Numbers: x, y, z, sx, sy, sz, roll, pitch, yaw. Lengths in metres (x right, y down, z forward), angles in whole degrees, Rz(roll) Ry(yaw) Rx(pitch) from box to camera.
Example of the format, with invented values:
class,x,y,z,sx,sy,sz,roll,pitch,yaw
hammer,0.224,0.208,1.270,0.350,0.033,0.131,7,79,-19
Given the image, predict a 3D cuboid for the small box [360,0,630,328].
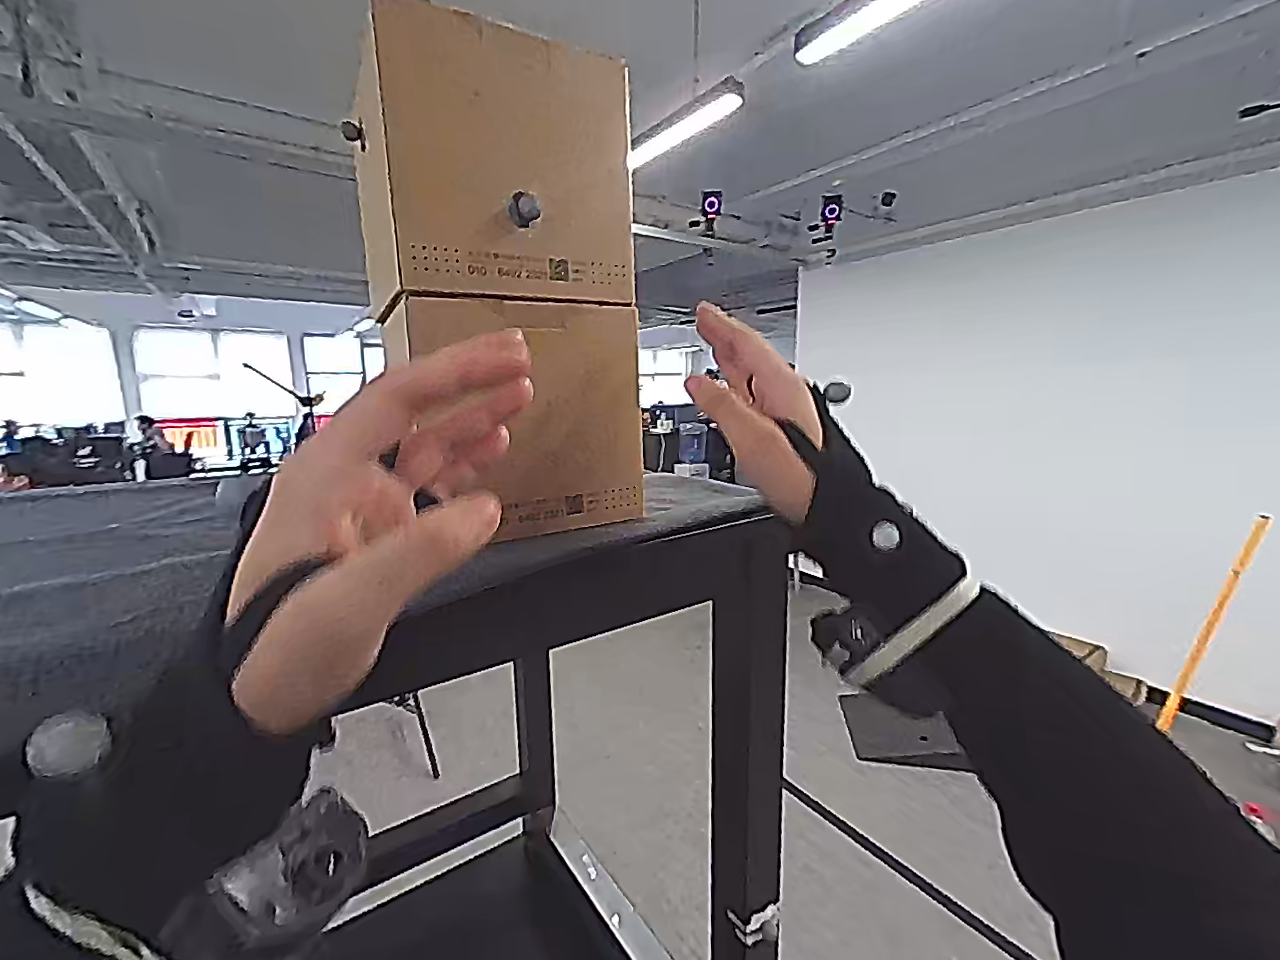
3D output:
class,x,y,z,sx,sy,sz,roll,pitch,yaw
small box,-0.120,-0.215,0.430,0.168,0.176,0.179,-8,11,-30
